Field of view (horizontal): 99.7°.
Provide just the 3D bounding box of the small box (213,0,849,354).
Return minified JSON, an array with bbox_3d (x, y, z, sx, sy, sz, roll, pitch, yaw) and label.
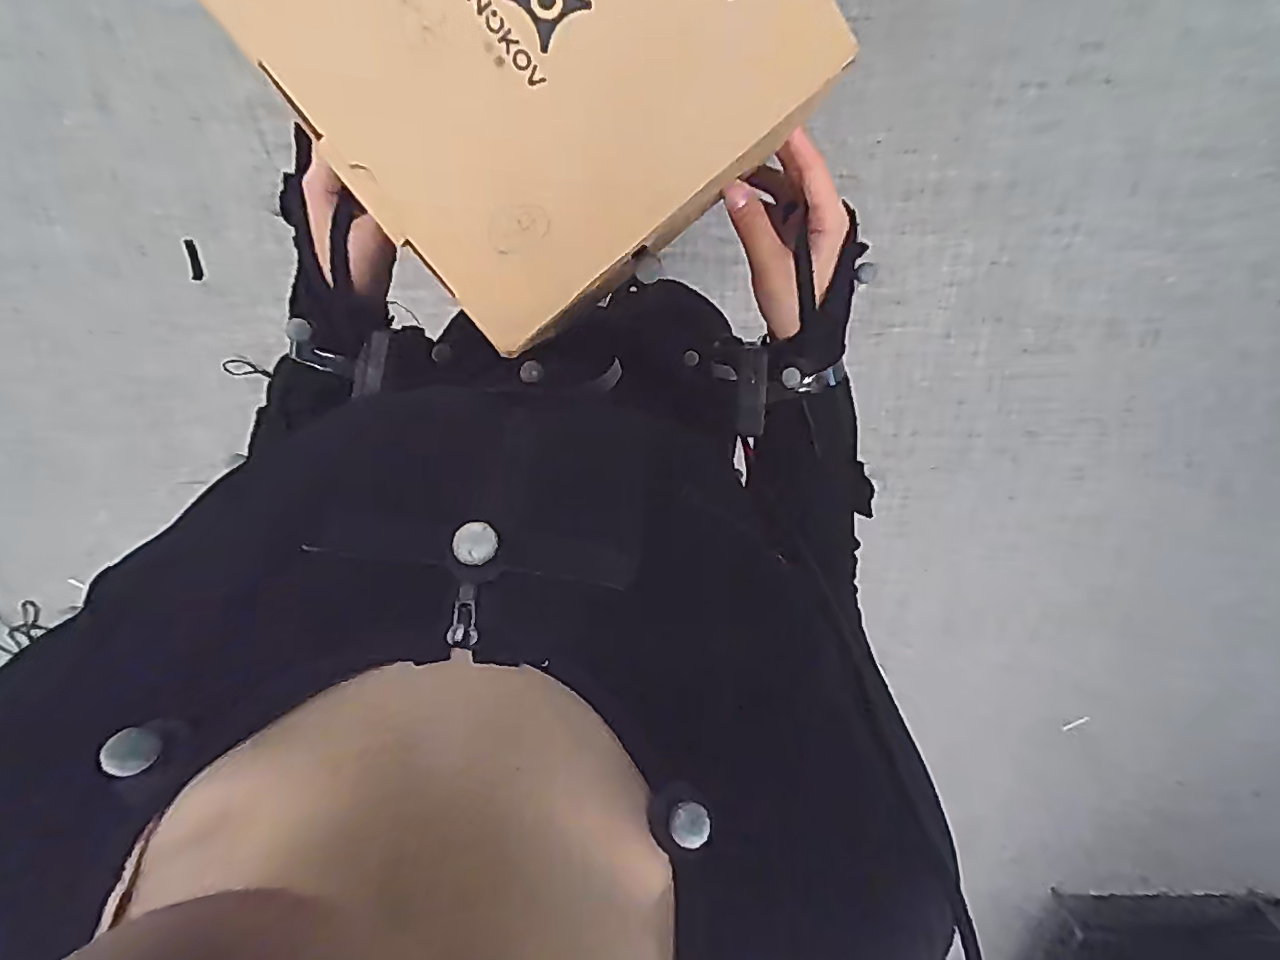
[{"bbox_3d":[-0.036,-0.186,0.269,0.179,0.176,0.168,-36,104,13],"label":"small box"}]
